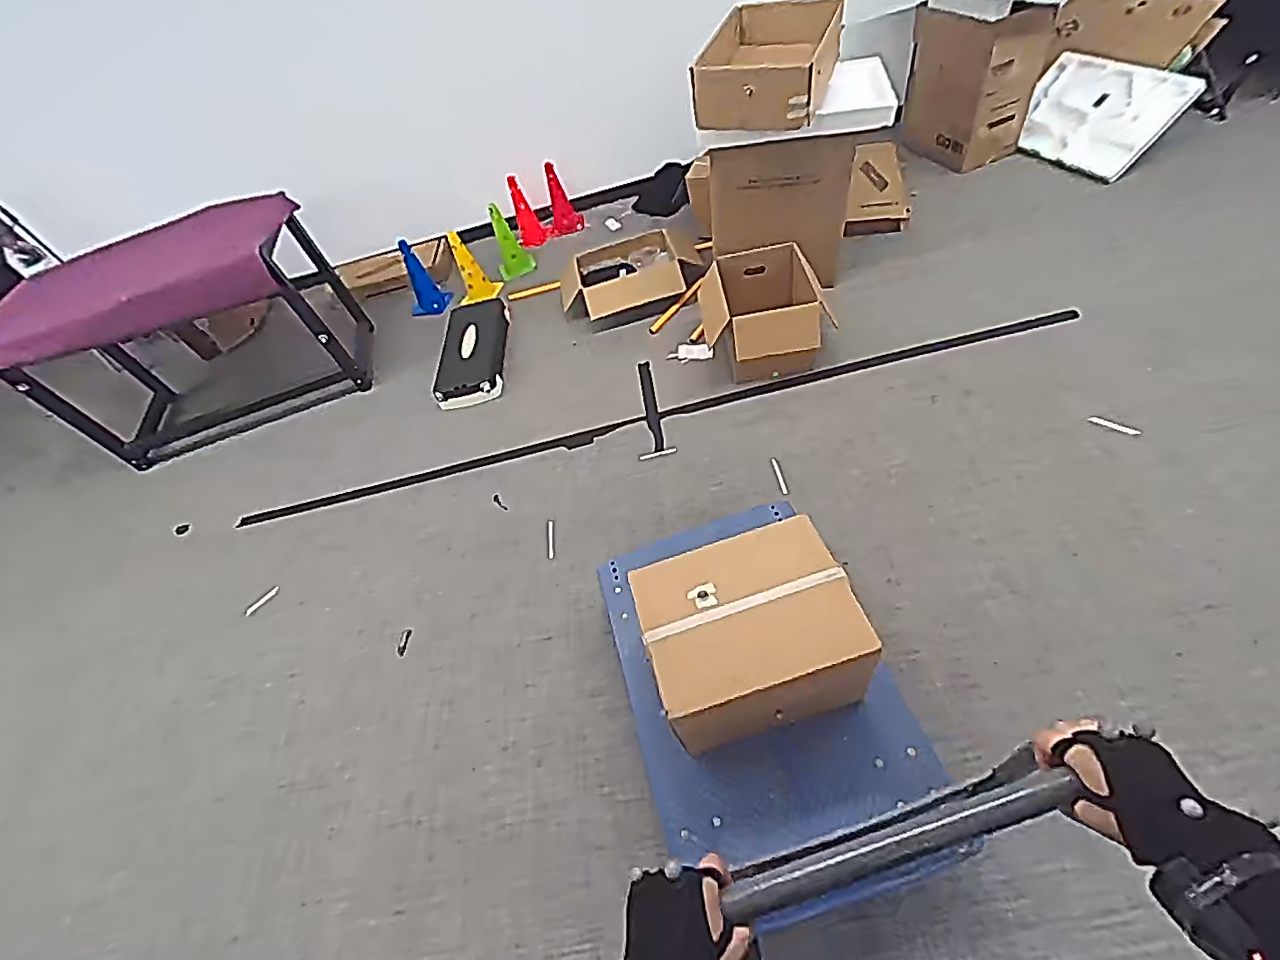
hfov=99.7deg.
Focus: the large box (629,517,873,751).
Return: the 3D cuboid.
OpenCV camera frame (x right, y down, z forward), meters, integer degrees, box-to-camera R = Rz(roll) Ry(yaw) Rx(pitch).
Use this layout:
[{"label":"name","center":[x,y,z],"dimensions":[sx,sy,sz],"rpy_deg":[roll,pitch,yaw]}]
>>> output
[{"label":"large box","center":[0.232,0.343,1.182],"dimensions":[0.408,0.320,0.320],"rpy_deg":[-19,49,1]}]
